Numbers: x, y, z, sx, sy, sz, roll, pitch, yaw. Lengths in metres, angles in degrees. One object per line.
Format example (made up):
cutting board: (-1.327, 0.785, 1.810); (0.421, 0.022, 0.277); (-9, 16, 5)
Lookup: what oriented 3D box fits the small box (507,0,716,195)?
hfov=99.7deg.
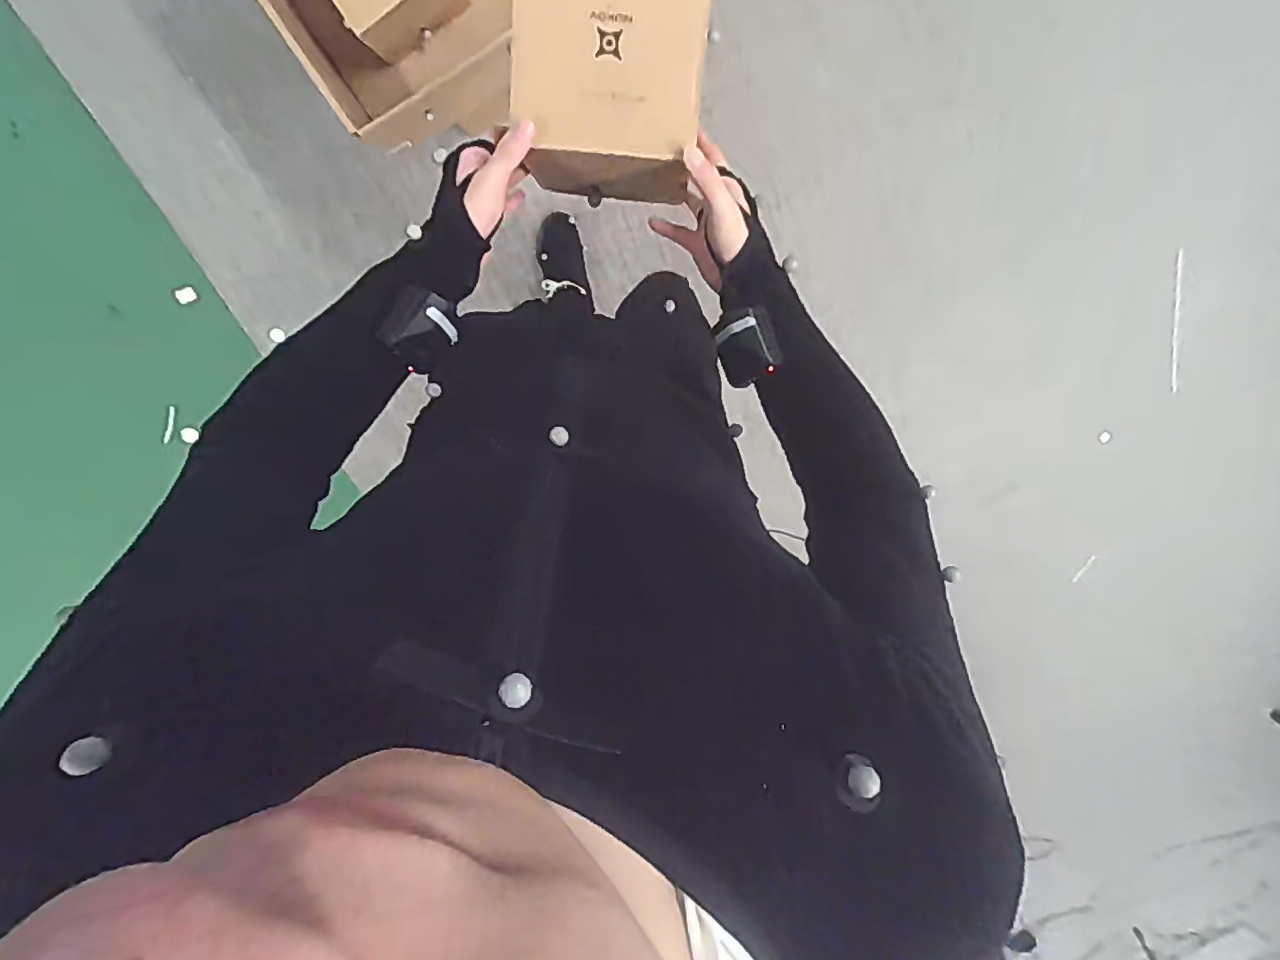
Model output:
small box: (-0.023, -0.393, 0.512); (0.168, 0.176, 0.179); (6, 106, -1)

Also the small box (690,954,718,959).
small box: (0.181, 1.540, 1.586); (0.168, 0.176, 0.179); (-25, 118, 4)
